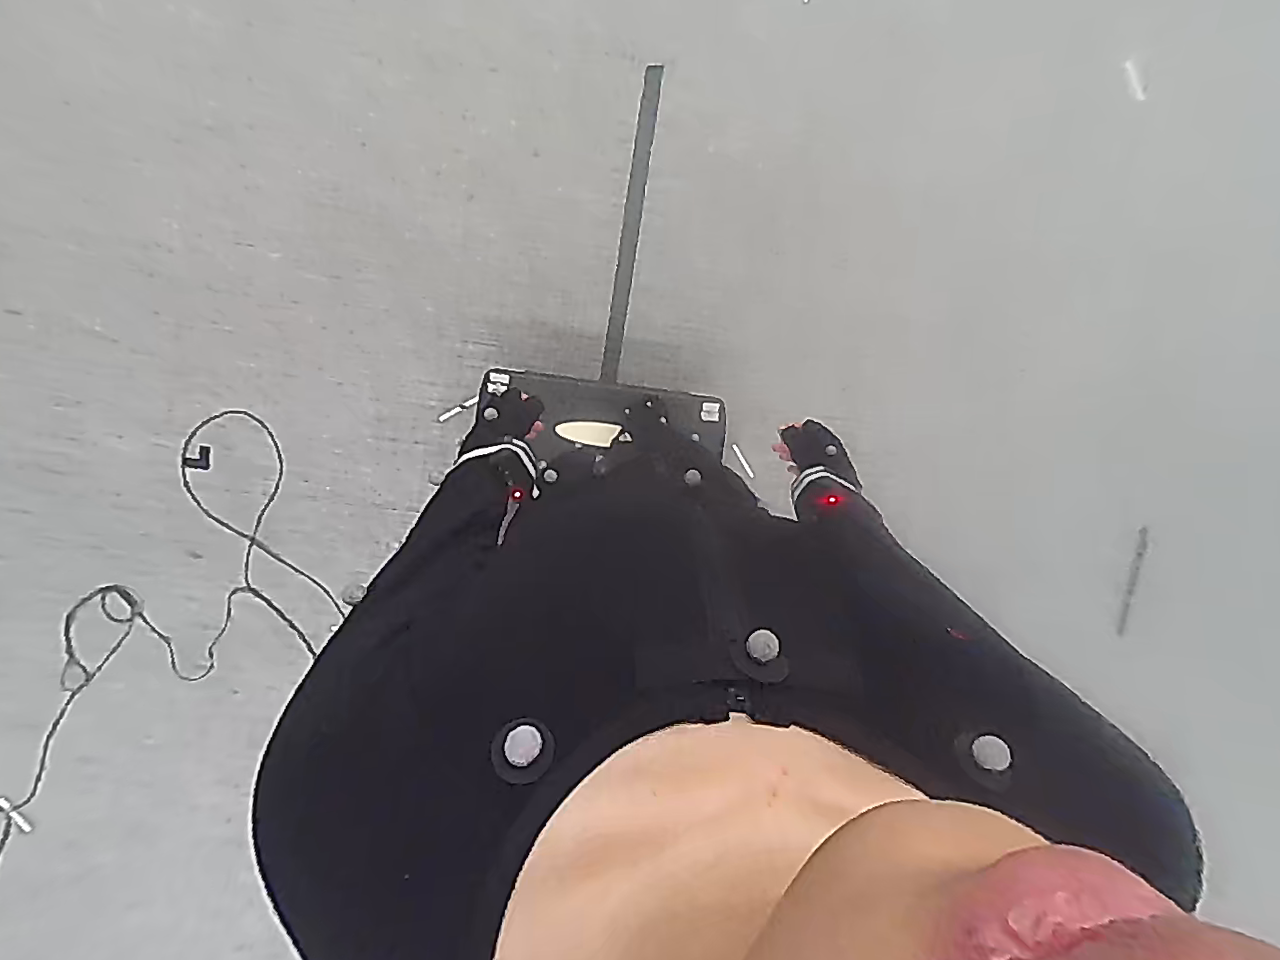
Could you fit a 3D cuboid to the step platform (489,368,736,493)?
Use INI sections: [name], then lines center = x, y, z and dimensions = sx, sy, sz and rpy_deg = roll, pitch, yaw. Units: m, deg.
[step platform]
center = -0.076, -0.138, 1.532
dimensions = 0.684, 0.204, 0.286
rpy_deg = 6, 98, -6
